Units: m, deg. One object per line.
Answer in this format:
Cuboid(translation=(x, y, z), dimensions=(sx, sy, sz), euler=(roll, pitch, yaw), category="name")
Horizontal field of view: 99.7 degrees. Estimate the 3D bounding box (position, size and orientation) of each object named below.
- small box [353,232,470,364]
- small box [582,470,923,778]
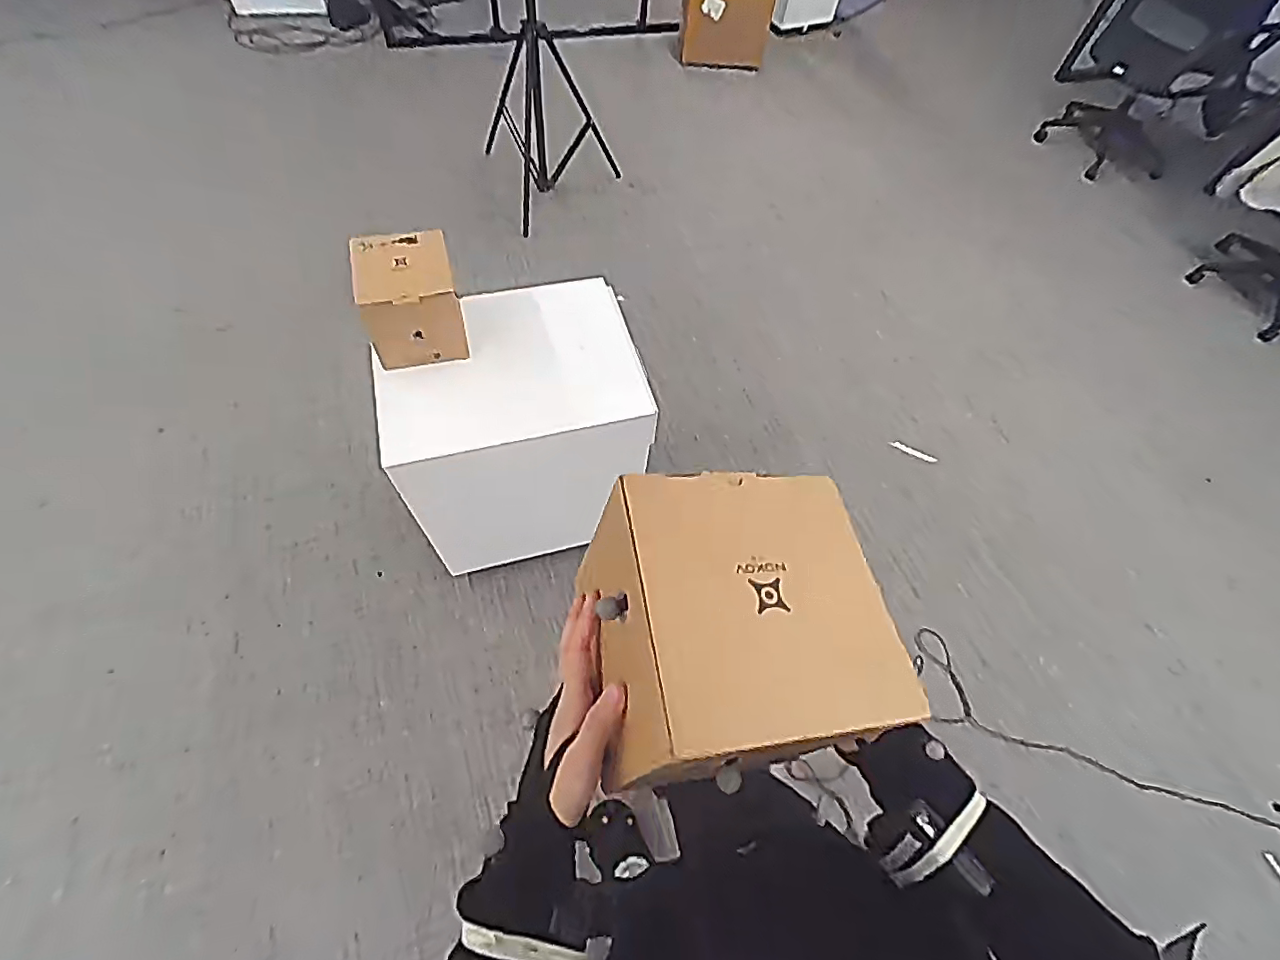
Cuboid(translation=(-0.431, -0.341, 1.036), dimensions=(0.168, 0.176, 0.179), euler=(-12, 64, -13), category="small box")
Cuboid(translation=(0.057, 0.110, 0.403), dimensions=(0.168, 0.176, 0.179), euler=(0, 55, -19), category="small box")
